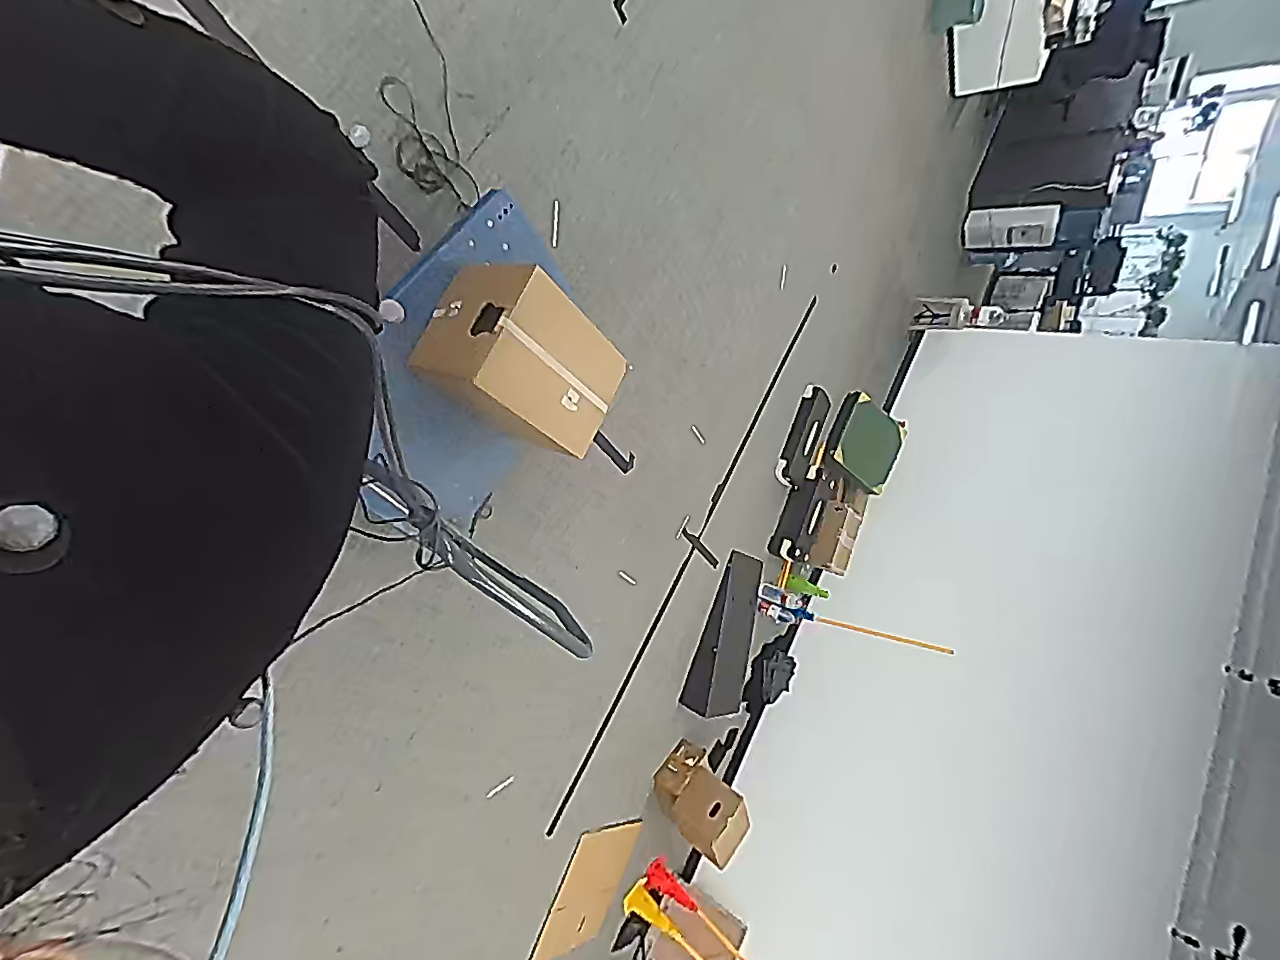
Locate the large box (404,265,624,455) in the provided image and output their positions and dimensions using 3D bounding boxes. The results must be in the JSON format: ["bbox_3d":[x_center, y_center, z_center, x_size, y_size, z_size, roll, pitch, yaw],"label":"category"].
[{"bbox_3d":[-0.318,-0.309,1.422,0.408,0.320,0.320,38,74,-51],"label":"large box"}]
